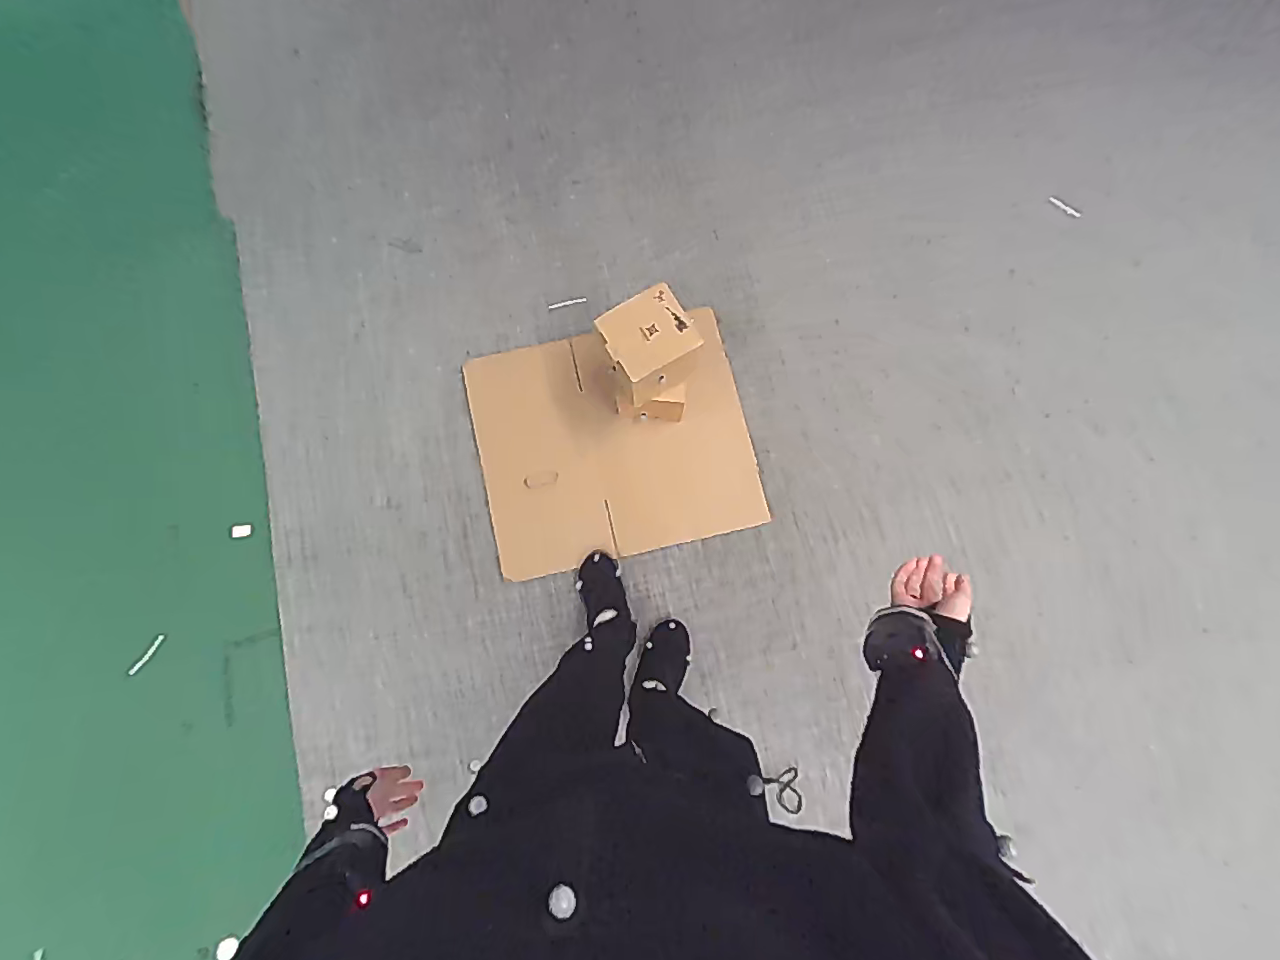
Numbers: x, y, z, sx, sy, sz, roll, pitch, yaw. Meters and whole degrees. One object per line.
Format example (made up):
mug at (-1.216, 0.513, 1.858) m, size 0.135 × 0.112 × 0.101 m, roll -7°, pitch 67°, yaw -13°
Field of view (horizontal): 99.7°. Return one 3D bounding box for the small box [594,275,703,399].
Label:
small box at (0.022, -0.304, 1.189) m, size 0.179 × 0.176 × 0.168 m, roll -30°, pitch 81°, yaw -3°

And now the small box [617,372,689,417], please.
small box at (0.037, -0.272, 1.348) m, size 0.168 × 0.176 × 0.179 m, roll 6°, pitch 81°, yaw 2°
